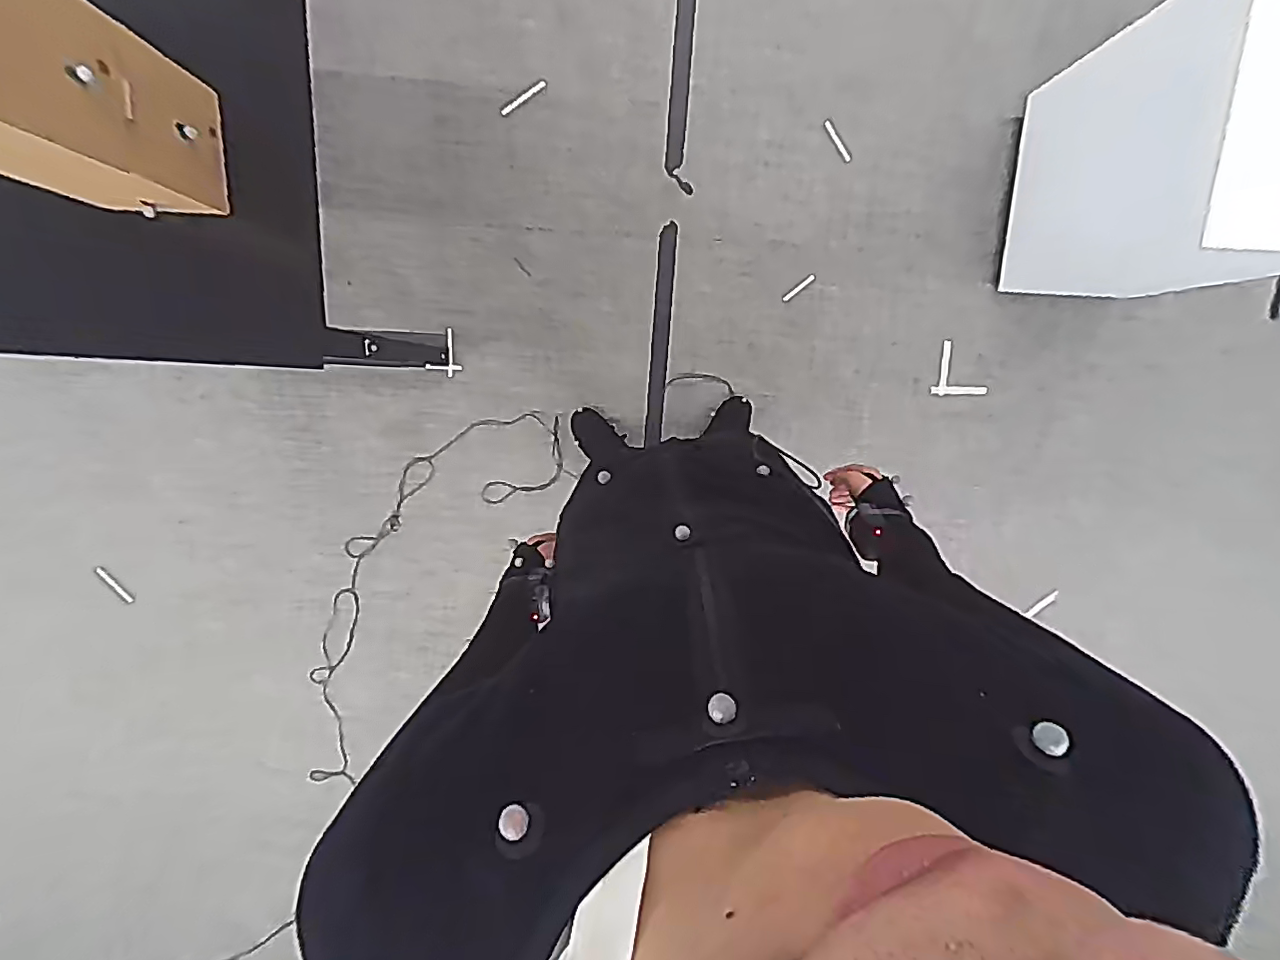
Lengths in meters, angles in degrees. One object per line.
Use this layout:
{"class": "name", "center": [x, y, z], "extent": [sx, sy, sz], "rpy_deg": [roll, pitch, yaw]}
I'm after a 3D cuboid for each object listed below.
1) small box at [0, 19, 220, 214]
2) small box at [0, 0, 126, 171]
{"class": "small box", "center": [-0.682, -0.454, 0.695], "extent": [0.179, 0.176, 0.168], "rpy_deg": [1, 100, -3]}
{"class": "small box", "center": [-0.677, -0.424, 0.533], "extent": [0.179, 0.176, 0.168], "rpy_deg": [1, 101, -3]}
